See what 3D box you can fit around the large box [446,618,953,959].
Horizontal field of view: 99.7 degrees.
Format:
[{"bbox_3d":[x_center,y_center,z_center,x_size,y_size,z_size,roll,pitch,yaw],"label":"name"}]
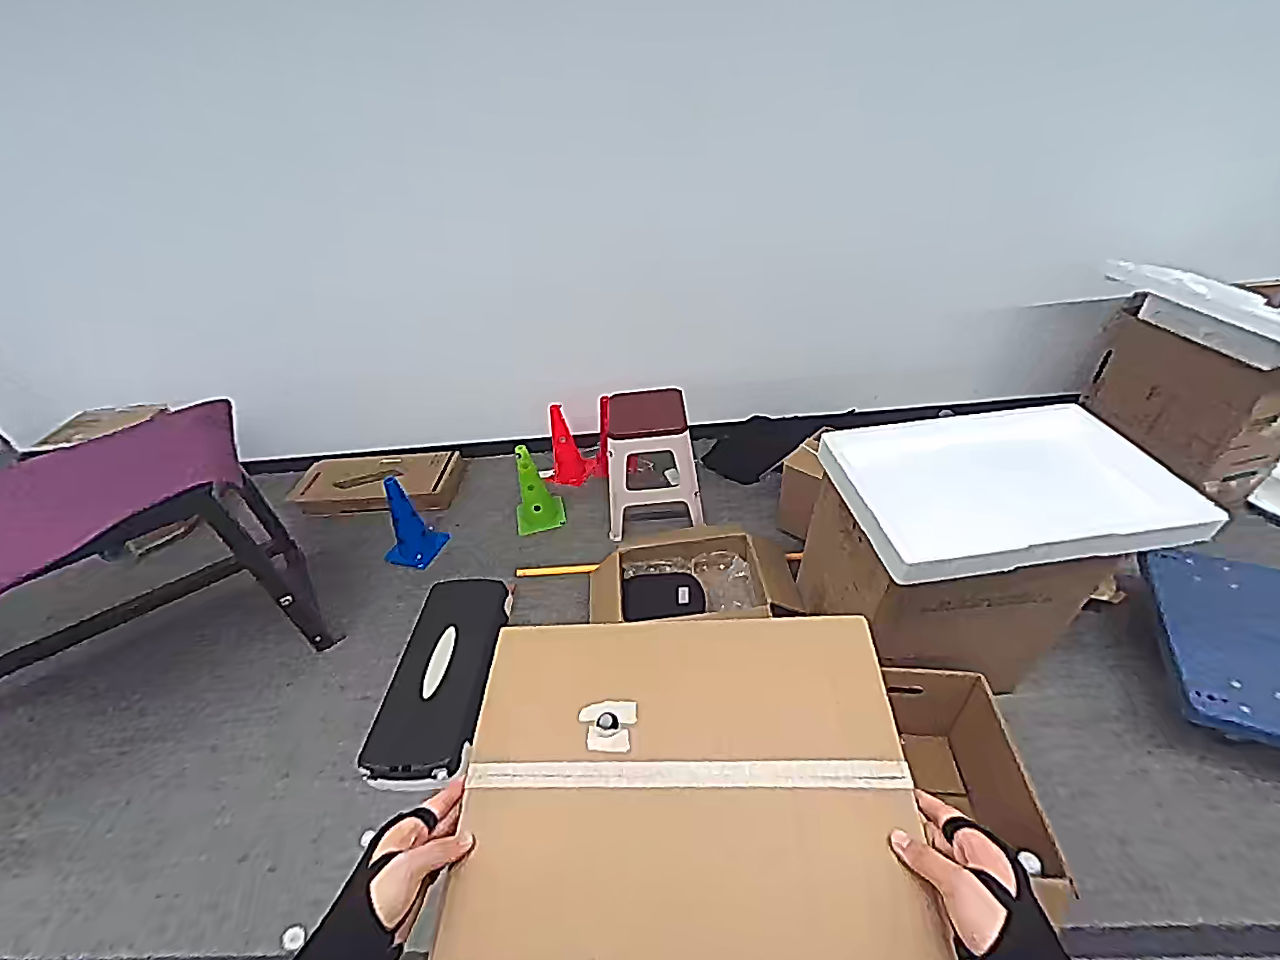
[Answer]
[{"bbox_3d":[0.062,0.381,0.614,0.408,0.320,0.320,-5,46,7],"label":"large box"}]
